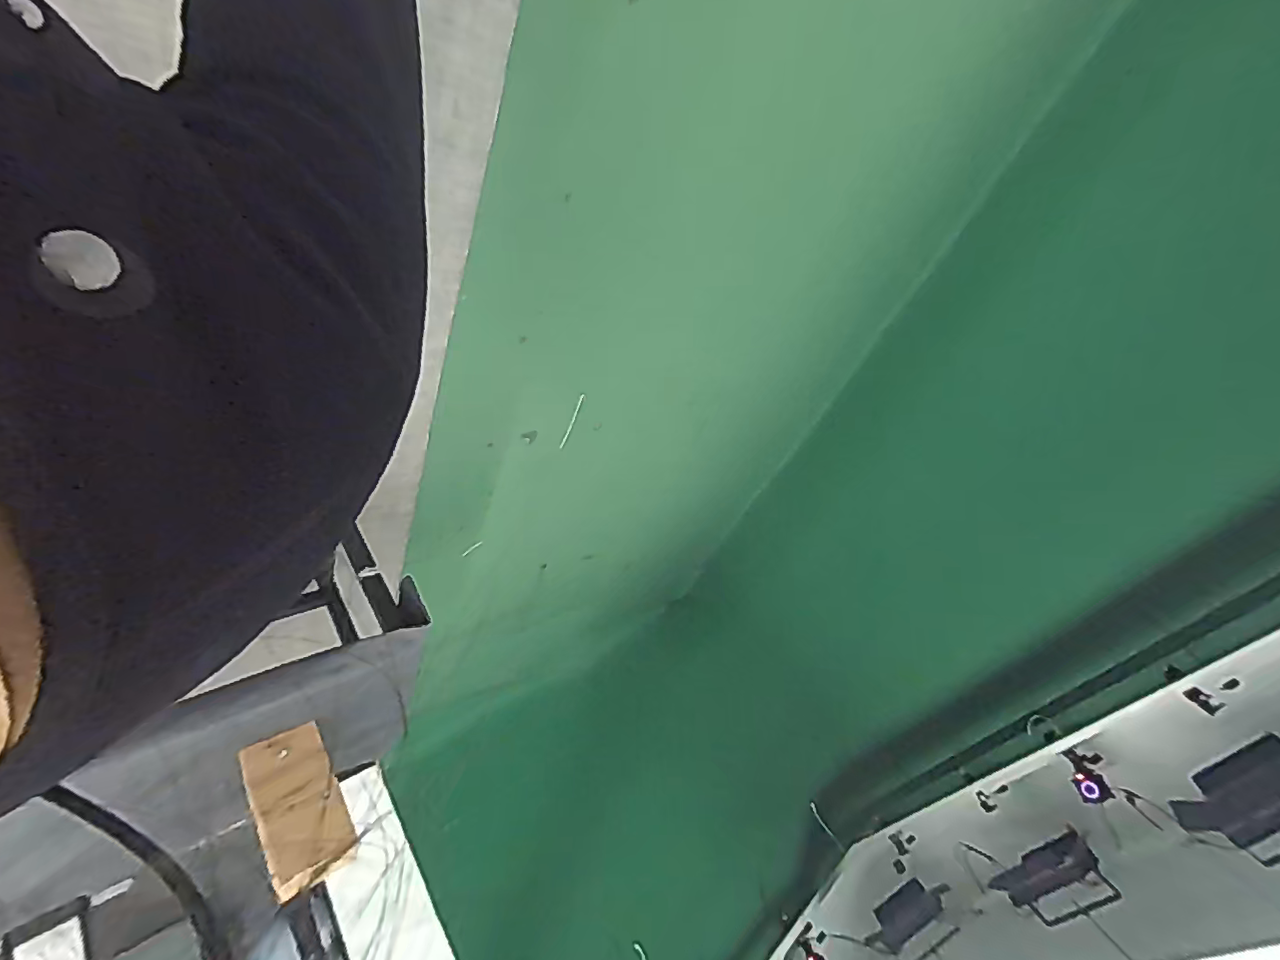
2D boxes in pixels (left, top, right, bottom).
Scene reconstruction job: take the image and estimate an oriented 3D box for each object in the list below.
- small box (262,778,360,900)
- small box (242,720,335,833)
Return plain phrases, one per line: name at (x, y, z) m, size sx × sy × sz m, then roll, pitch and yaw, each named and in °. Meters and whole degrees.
small box at (-0.811, 0.871, 1.327) m, size 0.168 × 0.176 × 0.179 m, roll -12°, pitch 143°, yaw -43°
small box at (-0.907, 0.757, 1.395) m, size 0.168 × 0.176 × 0.179 m, roll -14°, pitch 144°, yaw -43°
